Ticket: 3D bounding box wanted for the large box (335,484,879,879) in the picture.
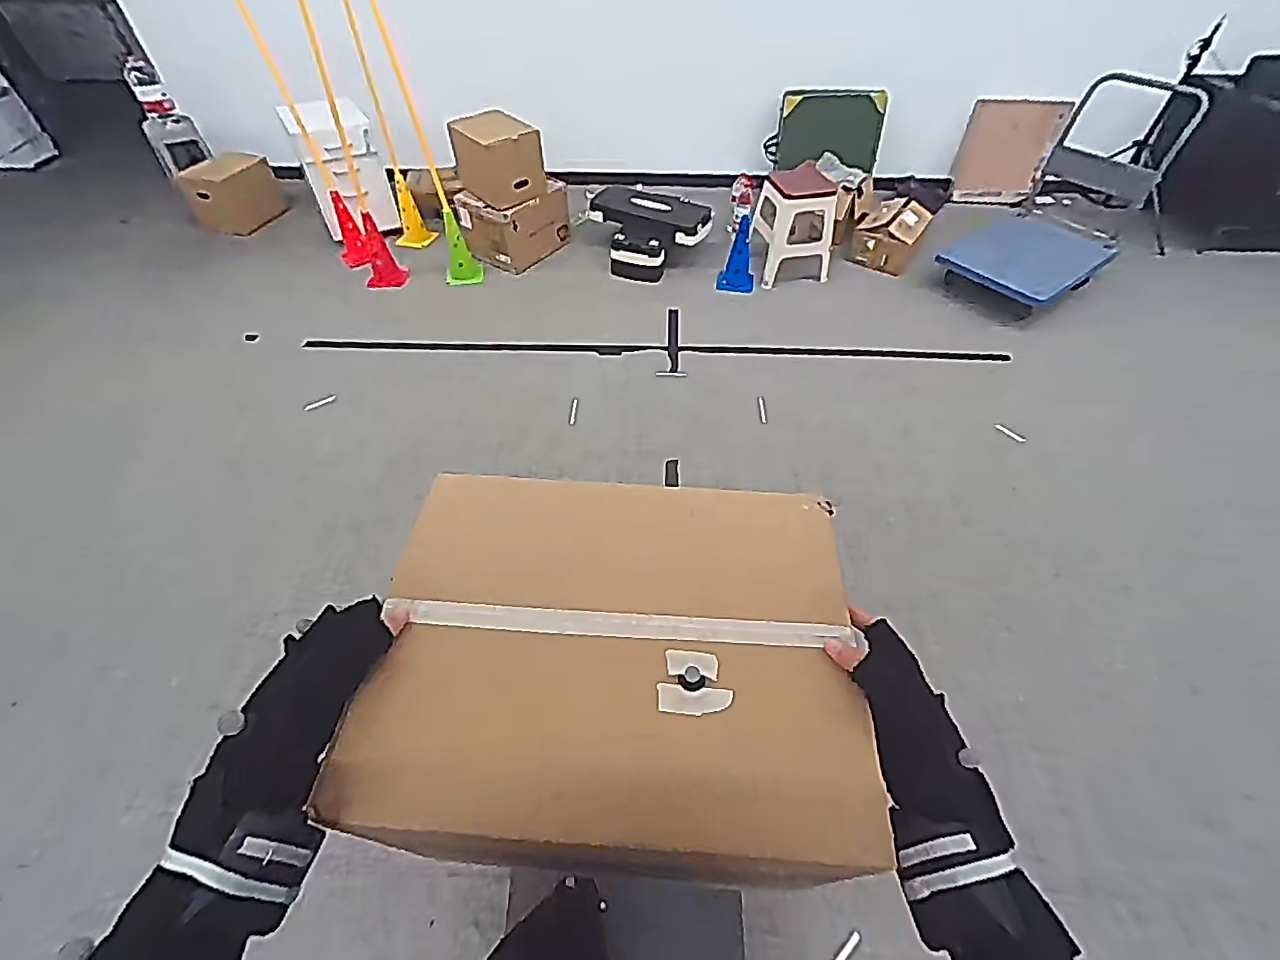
[{"bbox_3d":[-0.021,0.226,0.595,0.408,0.320,0.320,4,51,2],"label":"large box"}]
